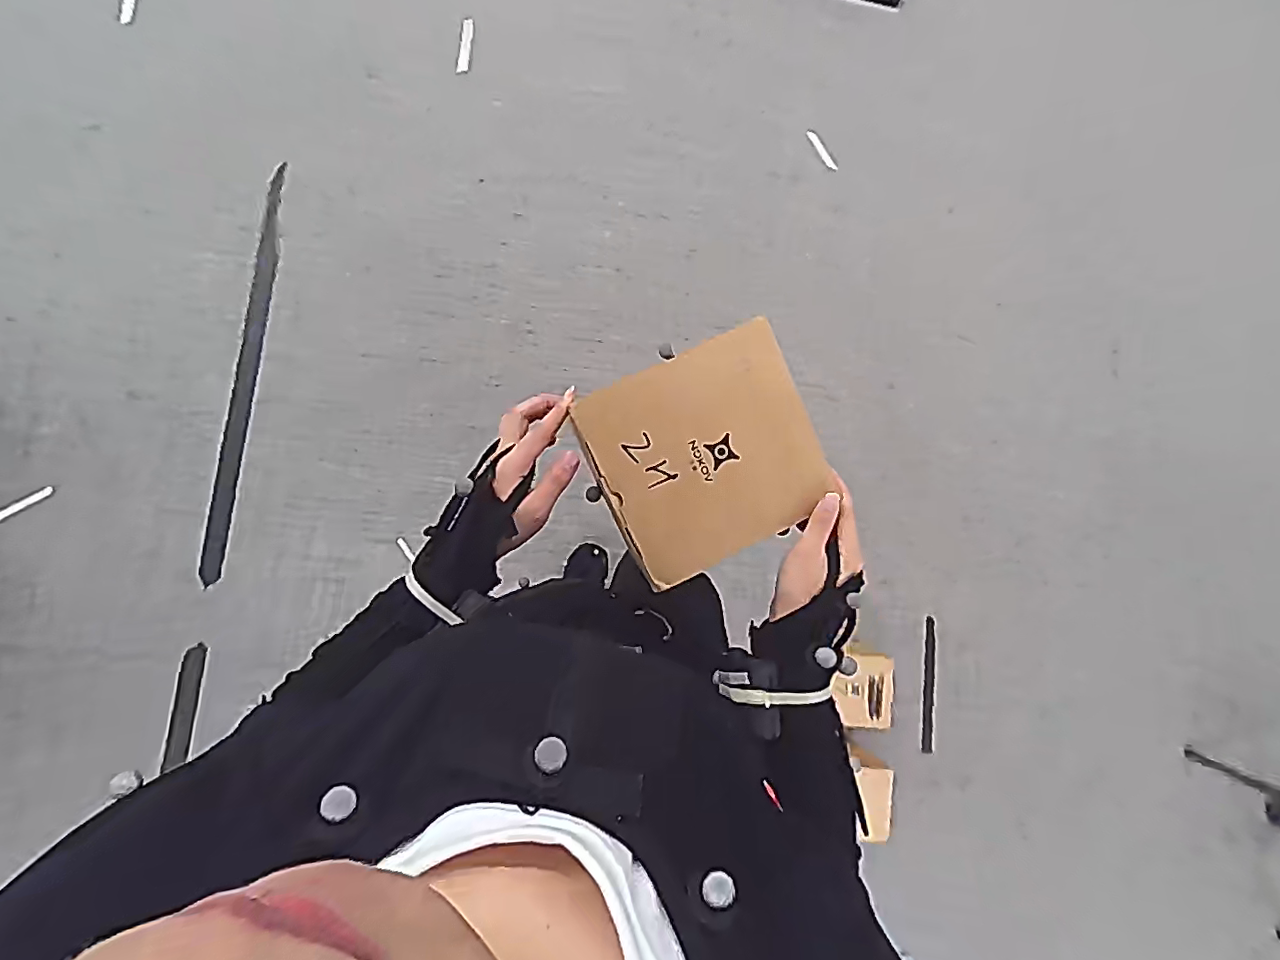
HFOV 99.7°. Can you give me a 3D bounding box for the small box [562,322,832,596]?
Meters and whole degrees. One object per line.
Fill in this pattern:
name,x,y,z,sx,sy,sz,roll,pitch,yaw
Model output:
small box,0.037,-0.023,0.501,0.179,0.176,0.168,-26,97,-5
